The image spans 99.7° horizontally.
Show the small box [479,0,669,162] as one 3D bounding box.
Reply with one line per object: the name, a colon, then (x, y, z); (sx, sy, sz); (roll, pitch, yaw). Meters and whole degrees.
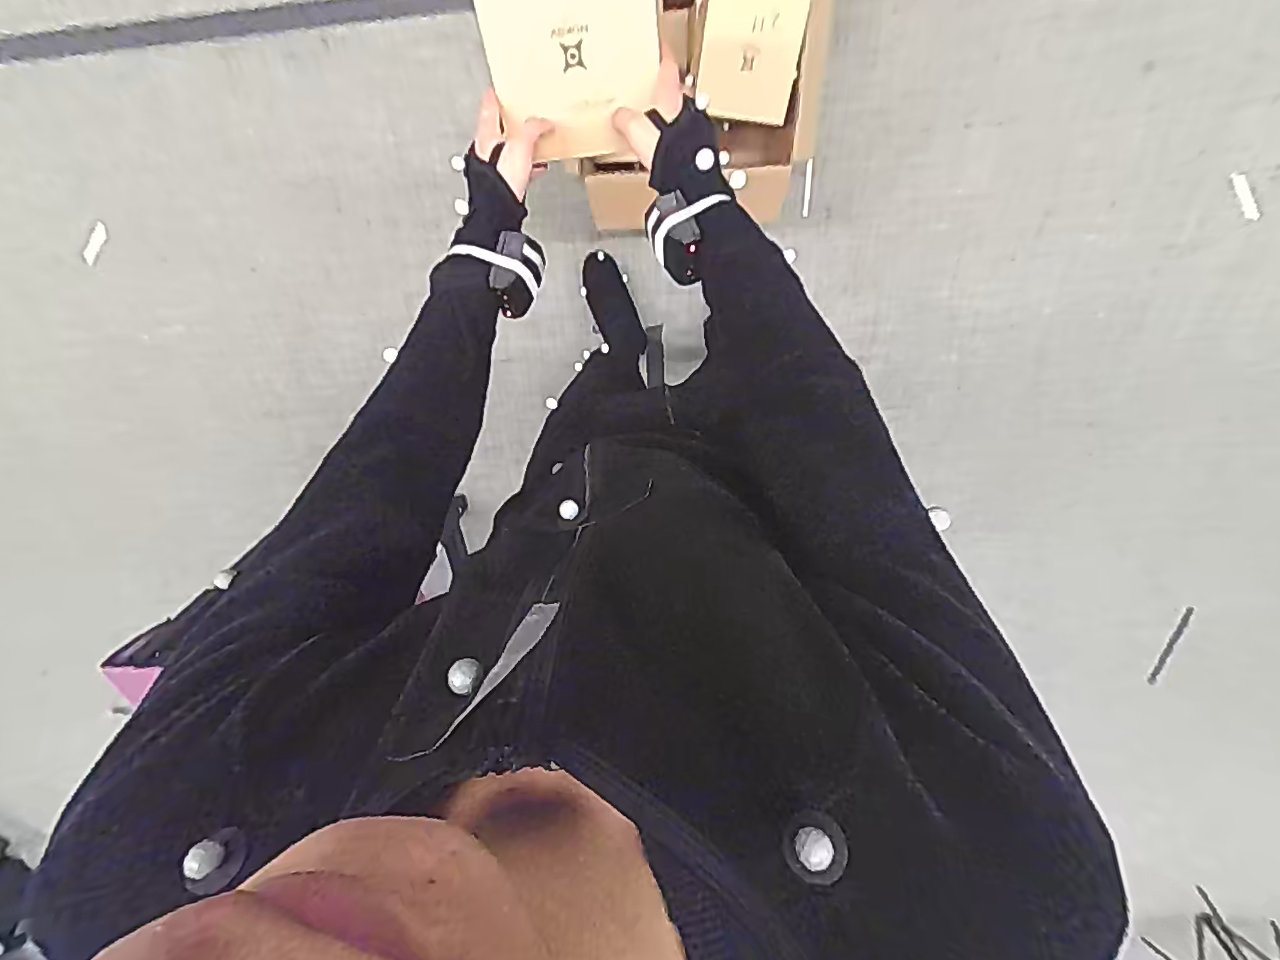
small box: (-0.057, -0.454, 0.574); (0.168, 0.176, 0.179); (-3, 126, 7)
